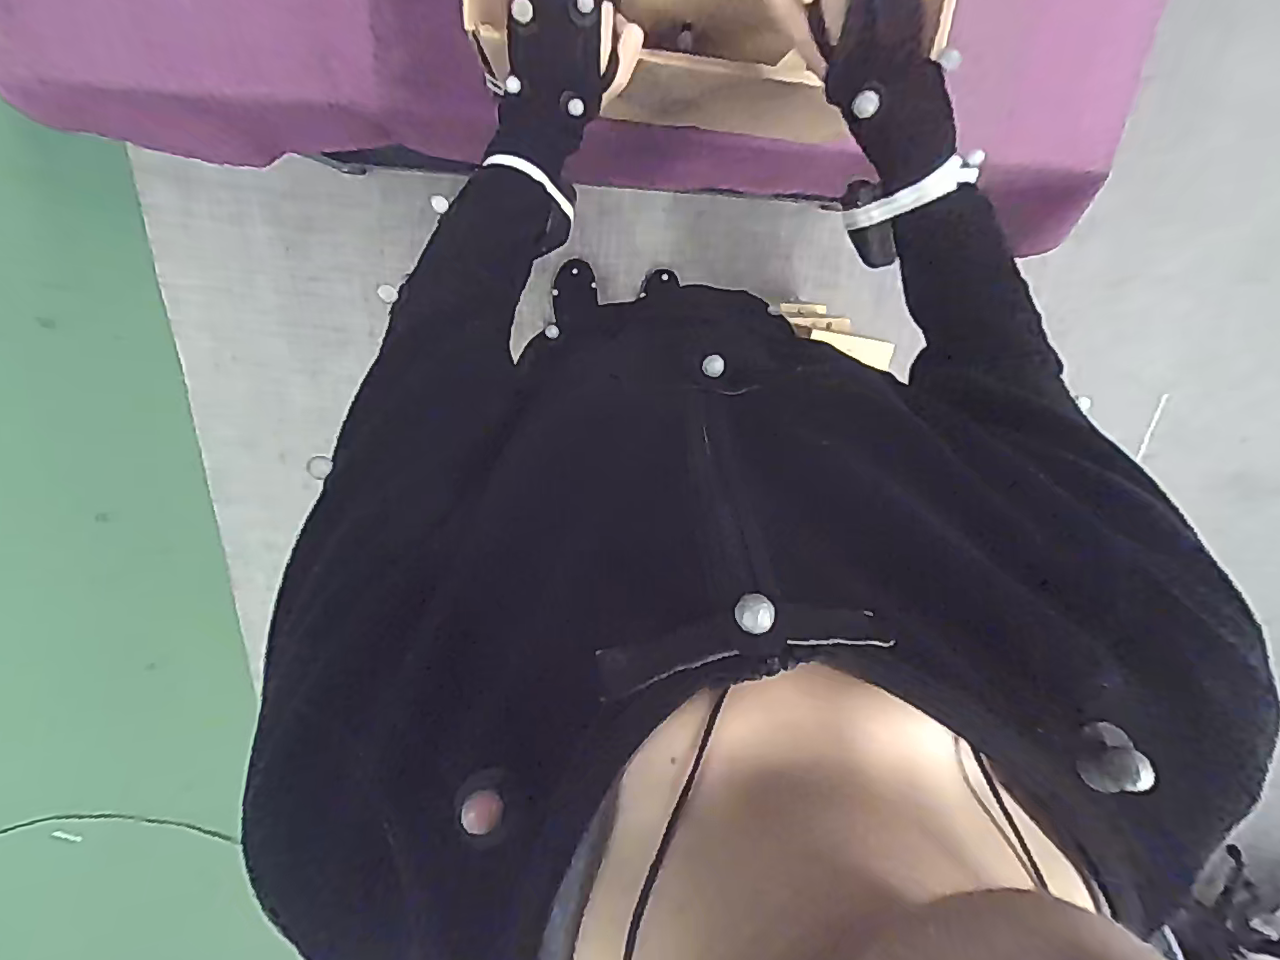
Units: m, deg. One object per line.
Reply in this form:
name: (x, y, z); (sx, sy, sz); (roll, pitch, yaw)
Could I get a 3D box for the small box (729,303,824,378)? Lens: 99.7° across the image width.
small box: (0.339, -0.359, 1.374); (0.179, 0.176, 0.168); (0, 111, -6)

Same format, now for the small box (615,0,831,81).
small box: (0.067, -0.470, 0.457); (0.168, 0.176, 0.179); (2, 110, -6)
